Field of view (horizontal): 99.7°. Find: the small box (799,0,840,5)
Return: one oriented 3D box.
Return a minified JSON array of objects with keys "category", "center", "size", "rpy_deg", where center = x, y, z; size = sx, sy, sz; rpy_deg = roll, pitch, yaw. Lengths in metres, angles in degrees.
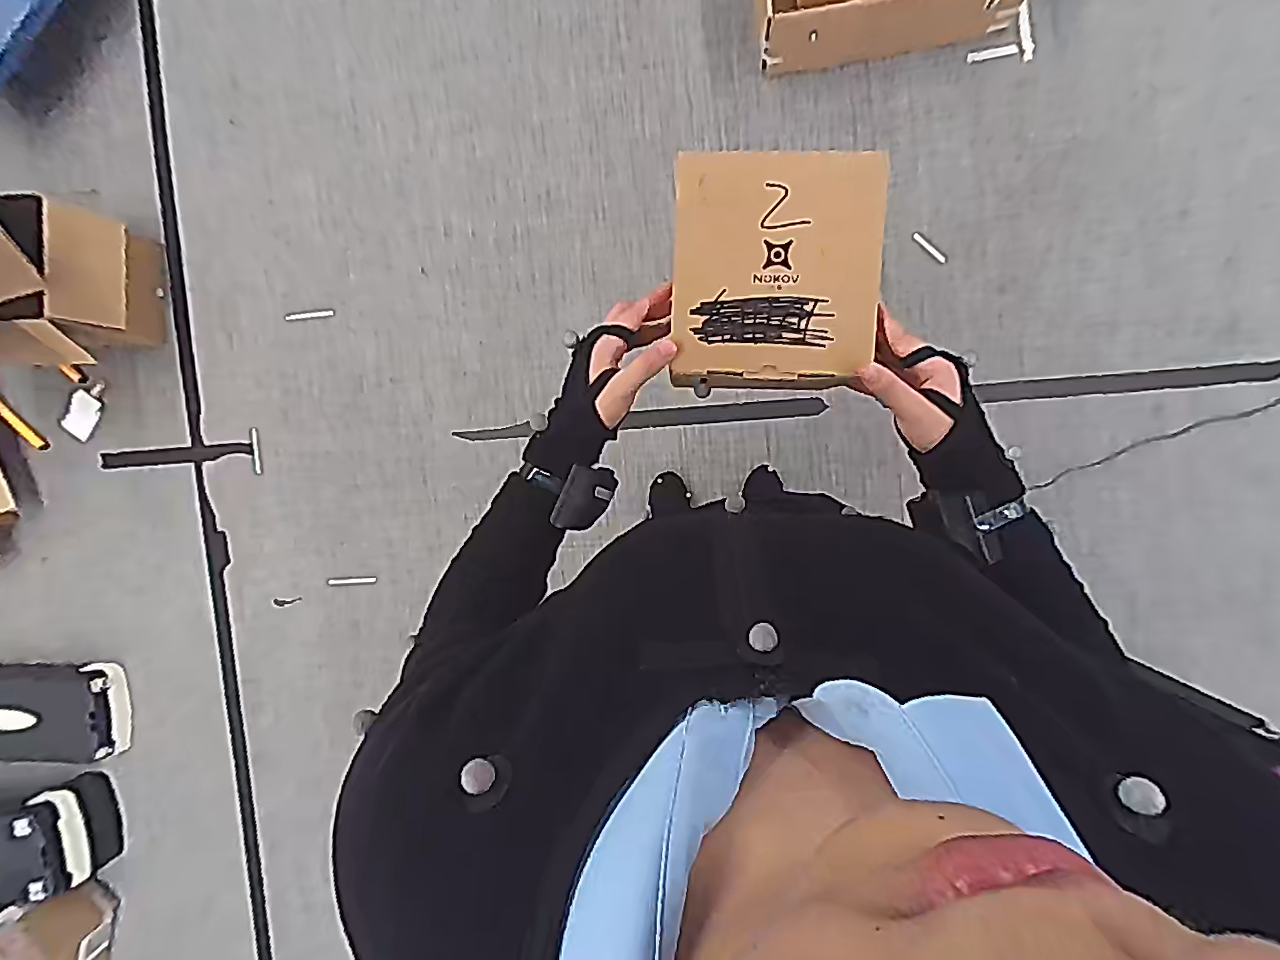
[{"category":"small box","center":[0.463,-1.278,1.279],"size":[0.168,0.176,0.179],"rpy_deg":[-8,92,5]}]
